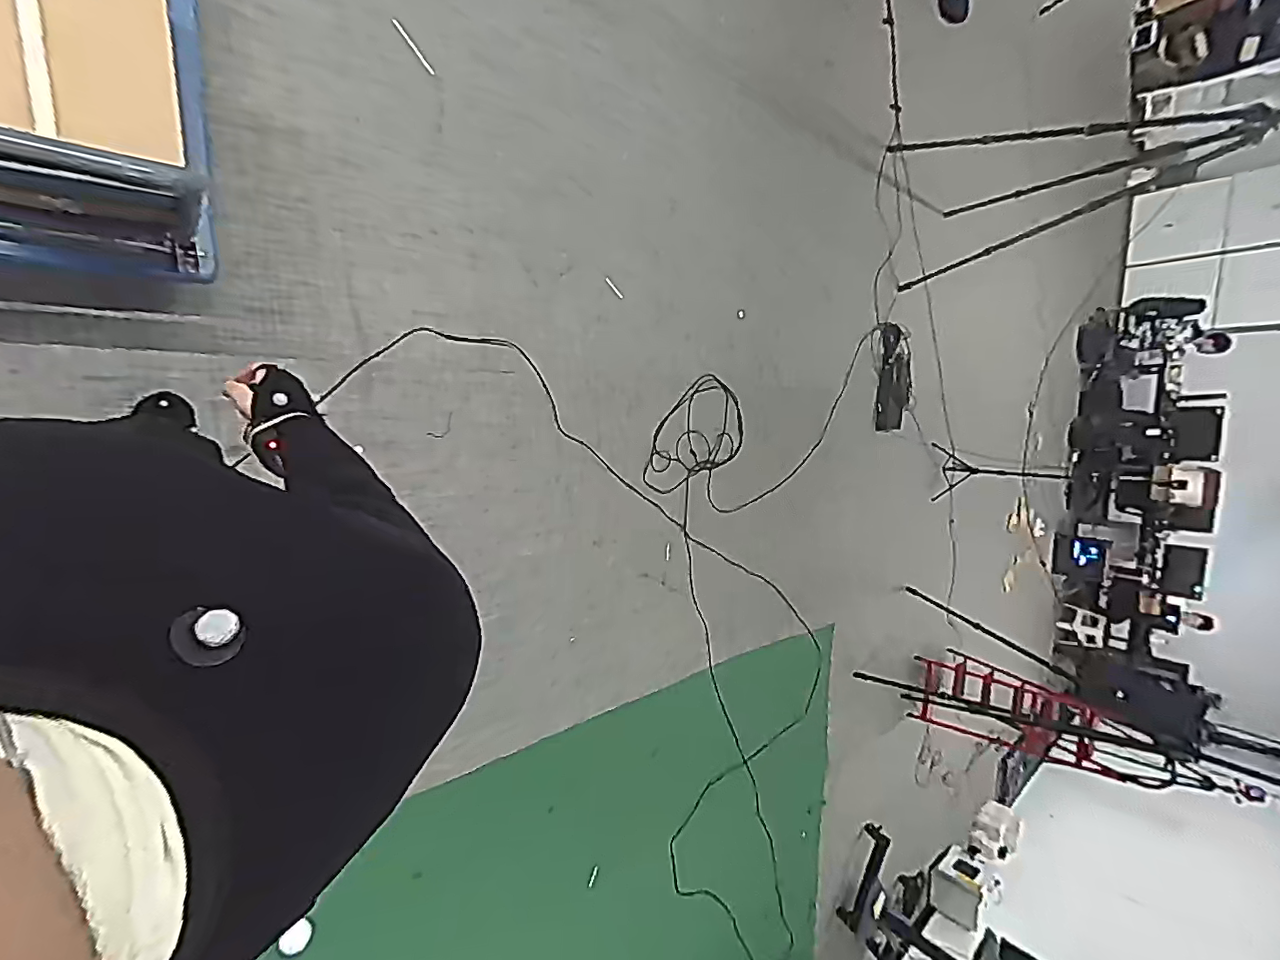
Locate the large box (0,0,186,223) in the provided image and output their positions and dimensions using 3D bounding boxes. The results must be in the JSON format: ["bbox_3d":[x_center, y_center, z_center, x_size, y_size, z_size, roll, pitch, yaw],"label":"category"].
[{"bbox_3d":[-0.956,-0.683,0.864,0.320,0.320,0.408,-7,100,-40],"label":"large box"}]
